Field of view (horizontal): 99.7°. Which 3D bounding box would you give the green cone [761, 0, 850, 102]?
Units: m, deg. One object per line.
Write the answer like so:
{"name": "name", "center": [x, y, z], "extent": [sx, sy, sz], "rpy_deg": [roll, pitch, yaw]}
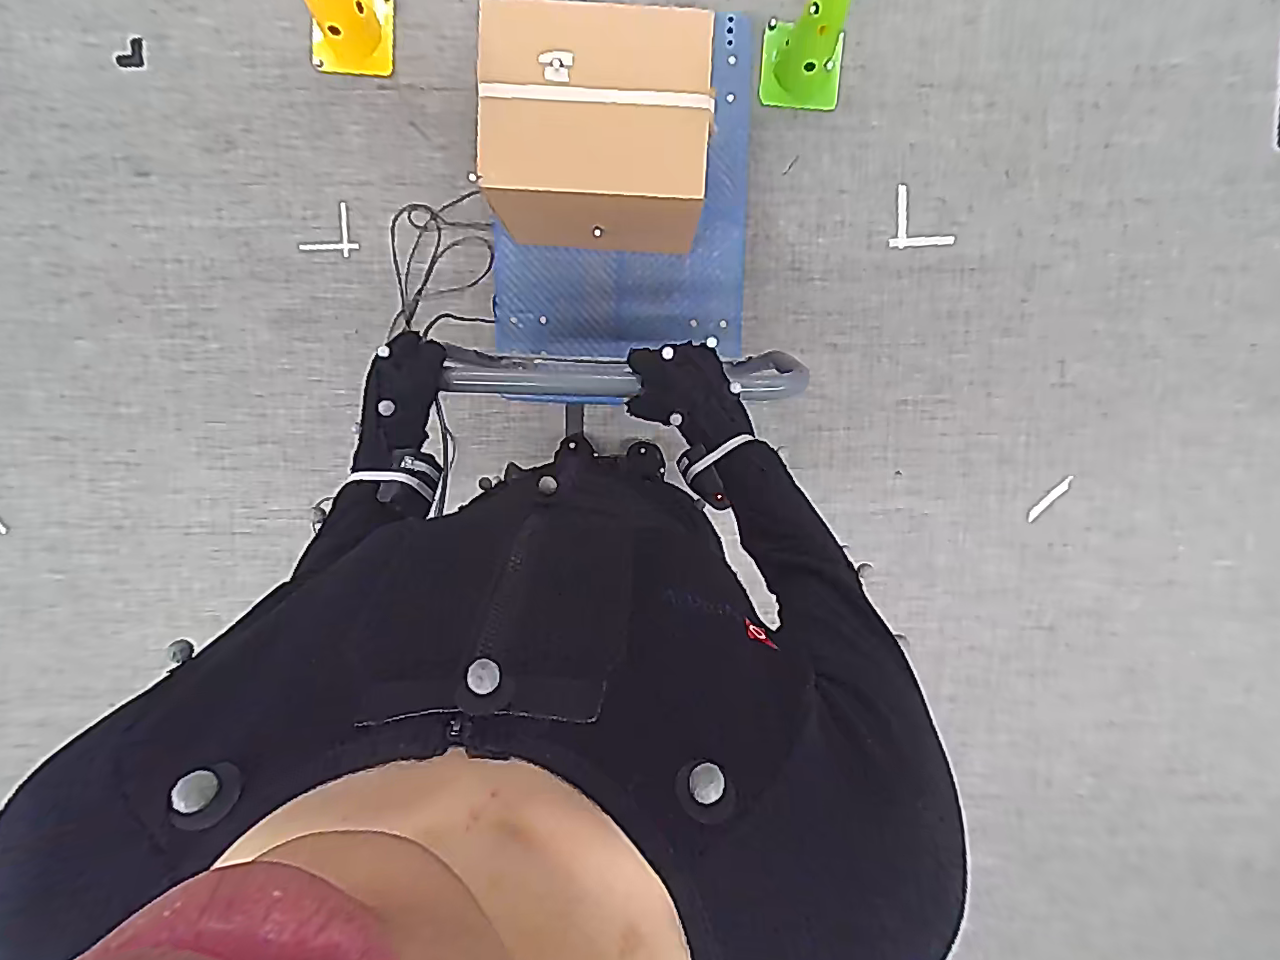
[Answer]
{"name": "green cone", "center": [0.416, -1.052, 1.200], "extent": [0.202, 0.368, 0.200], "rpy_deg": [4, 96, -2]}

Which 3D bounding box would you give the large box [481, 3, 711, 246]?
{"name": "large box", "center": [-0.076, -0.679, 1.091], "extent": [0.408, 0.320, 0.320], "rpy_deg": [3, 96, 0]}
